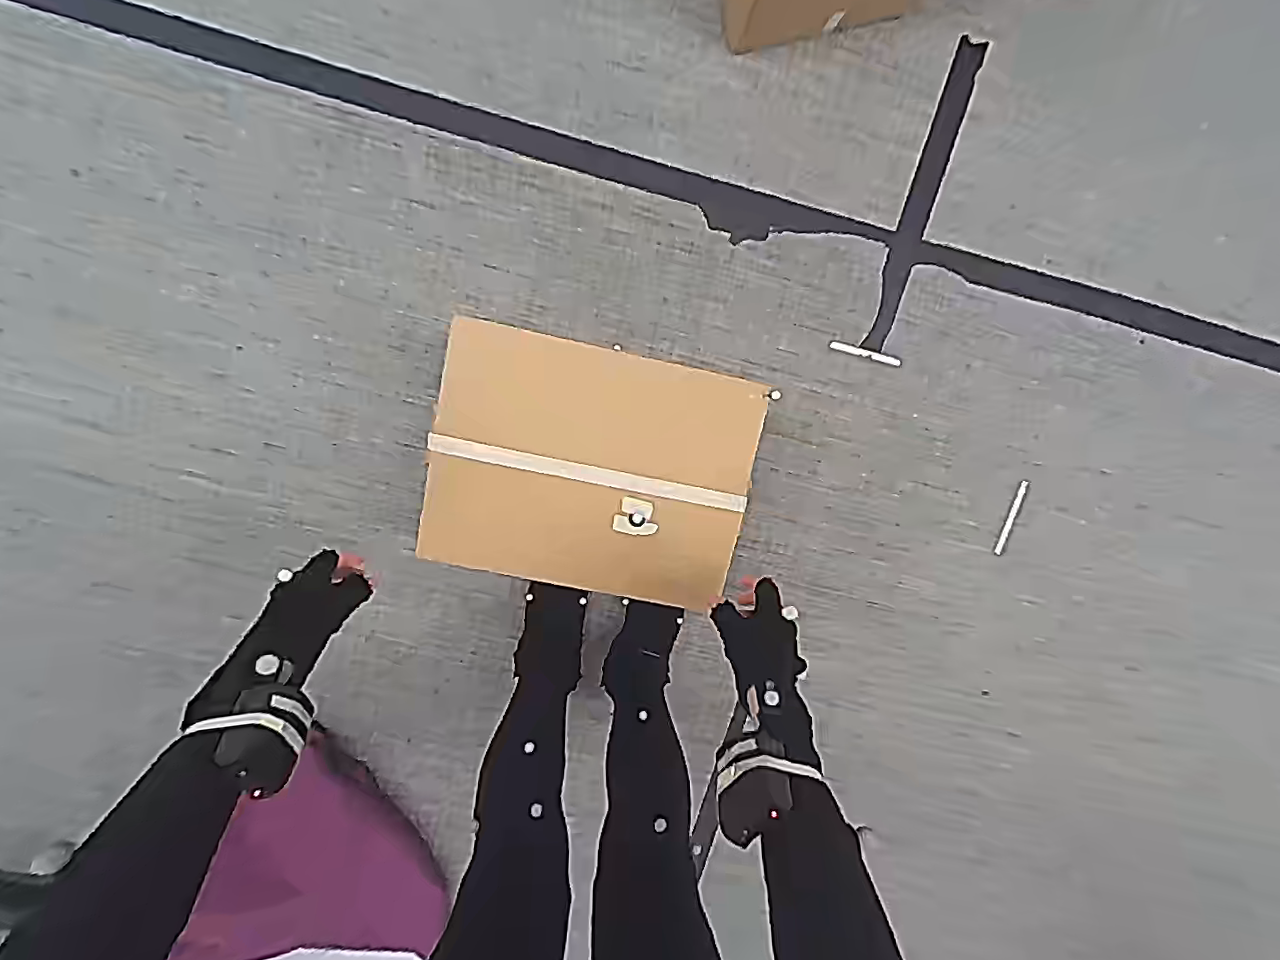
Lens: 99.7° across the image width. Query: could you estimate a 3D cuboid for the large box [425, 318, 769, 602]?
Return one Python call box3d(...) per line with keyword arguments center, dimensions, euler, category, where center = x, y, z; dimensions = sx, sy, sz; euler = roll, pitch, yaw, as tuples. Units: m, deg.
box3d(center=(-0.069, -0.038, 0.838), dimensions=(0.408, 0.320, 0.320), euler=(11, 99, -6), category="large box")
